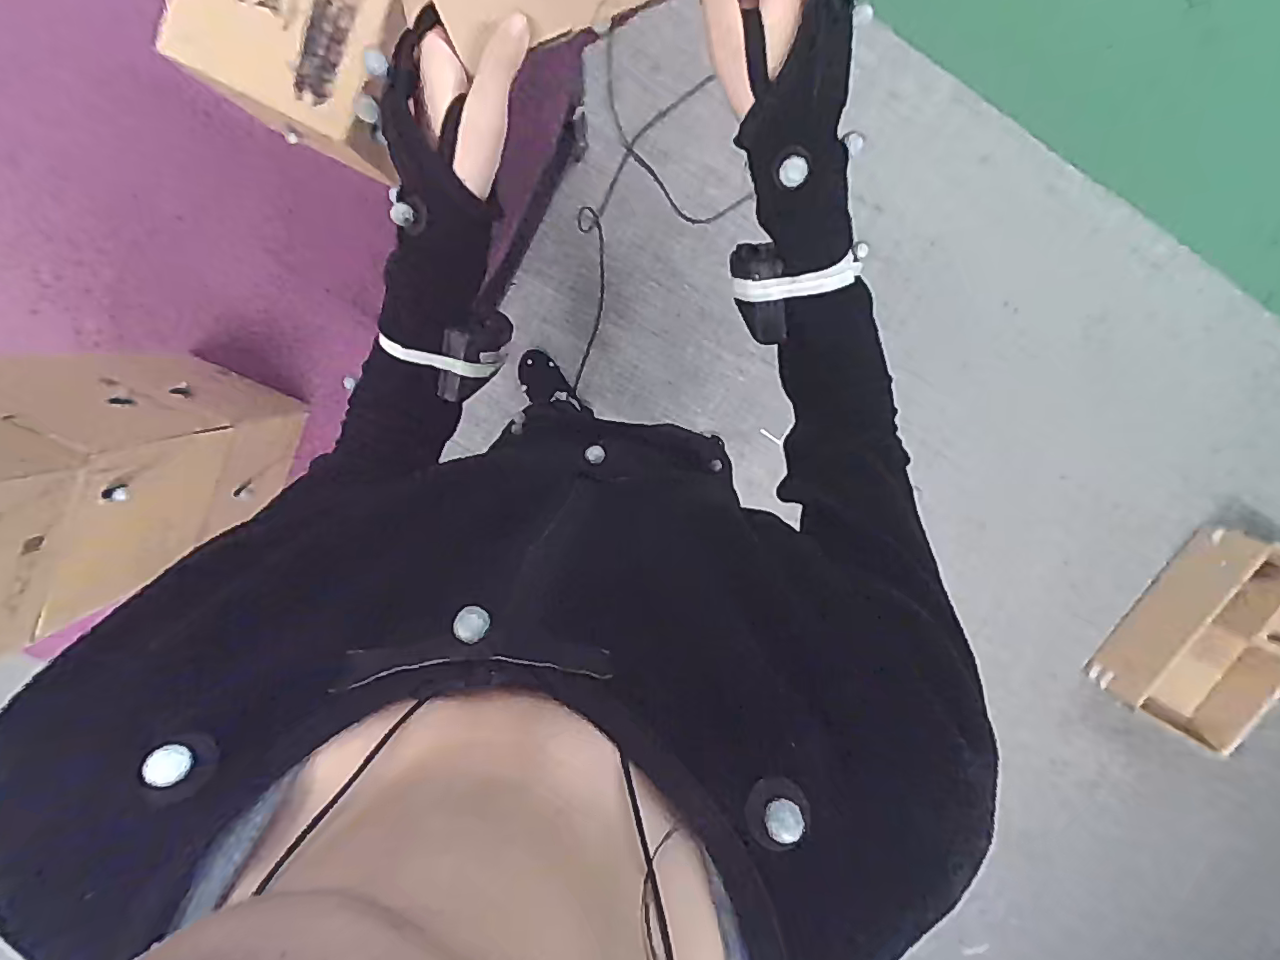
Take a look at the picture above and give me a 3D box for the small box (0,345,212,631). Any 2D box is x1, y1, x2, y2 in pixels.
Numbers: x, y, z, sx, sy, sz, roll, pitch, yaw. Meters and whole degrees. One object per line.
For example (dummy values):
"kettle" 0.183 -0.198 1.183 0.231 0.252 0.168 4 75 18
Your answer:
"small box" -0.534 -0.006 0.480 0.168 0.176 0.179 25 99 -9

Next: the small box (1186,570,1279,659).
"small box" 1.834 0.402 1.639 0.168 0.176 0.179 25 97 -10

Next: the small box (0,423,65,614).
"small box" -0.524 0.029 0.321 0.179 0.176 0.168 28 98 -9

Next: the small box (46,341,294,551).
"small box" -0.550 -0.047 0.636 0.168 0.176 0.179 25 101 -10
